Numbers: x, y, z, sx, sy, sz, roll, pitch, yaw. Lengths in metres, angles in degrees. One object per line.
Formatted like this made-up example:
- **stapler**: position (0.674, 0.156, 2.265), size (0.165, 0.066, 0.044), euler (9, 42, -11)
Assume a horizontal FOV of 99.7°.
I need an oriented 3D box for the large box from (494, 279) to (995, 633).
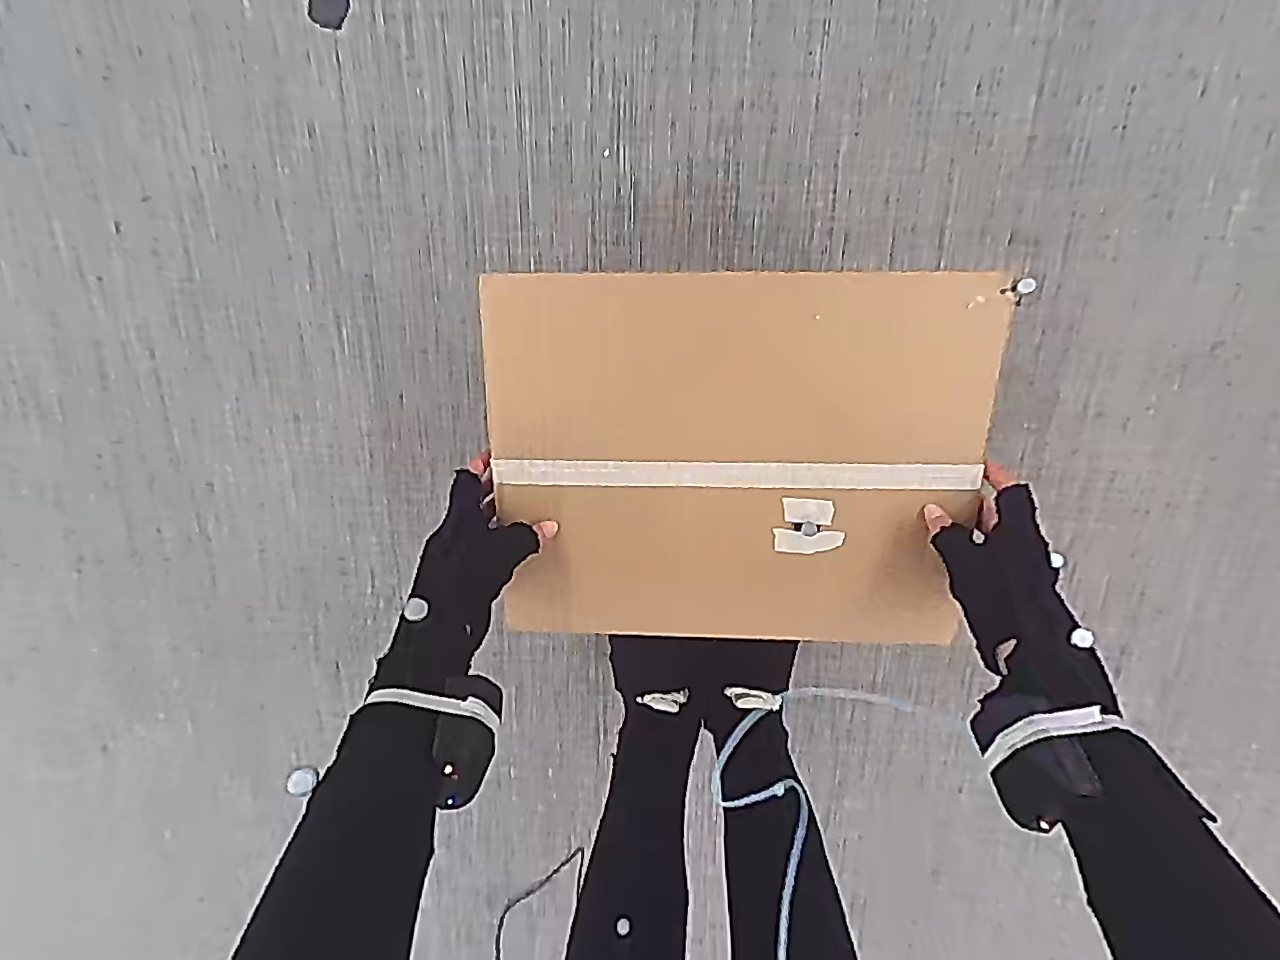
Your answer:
- **large box**: position (0.088, -0.043, 0.611), size (0.408, 0.320, 0.320), euler (0, 106, 3)
